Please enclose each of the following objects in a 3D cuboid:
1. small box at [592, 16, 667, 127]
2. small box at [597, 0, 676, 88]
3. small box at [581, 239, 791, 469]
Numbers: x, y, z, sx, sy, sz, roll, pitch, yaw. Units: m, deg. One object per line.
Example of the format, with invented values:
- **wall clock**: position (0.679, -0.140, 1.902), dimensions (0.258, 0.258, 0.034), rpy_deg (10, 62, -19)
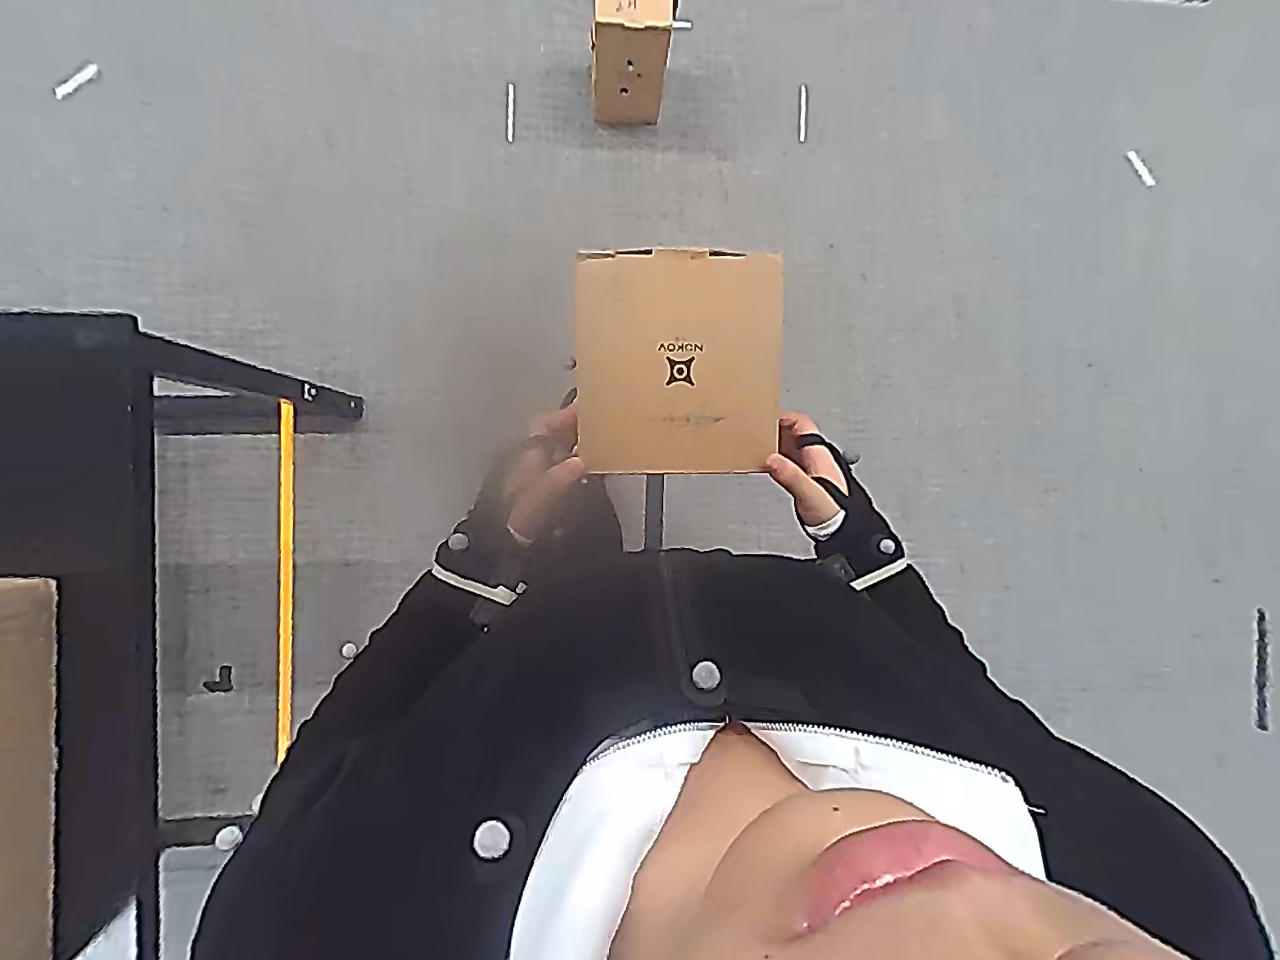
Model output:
- **small box**: position (-0.030, -1.035, 1.382), dimensions (0.179, 0.176, 0.168), rpy_deg (-3, 91, -5)
- **small box**: position (-0.012, -1.034, 1.218), dimensions (0.168, 0.176, 0.179), rpy_deg (1, 91, -4)
- **small box**: position (0.029, -0.107, 0.502), dimensions (0.168, 0.176, 0.179), rpy_deg (0, 99, -4)
